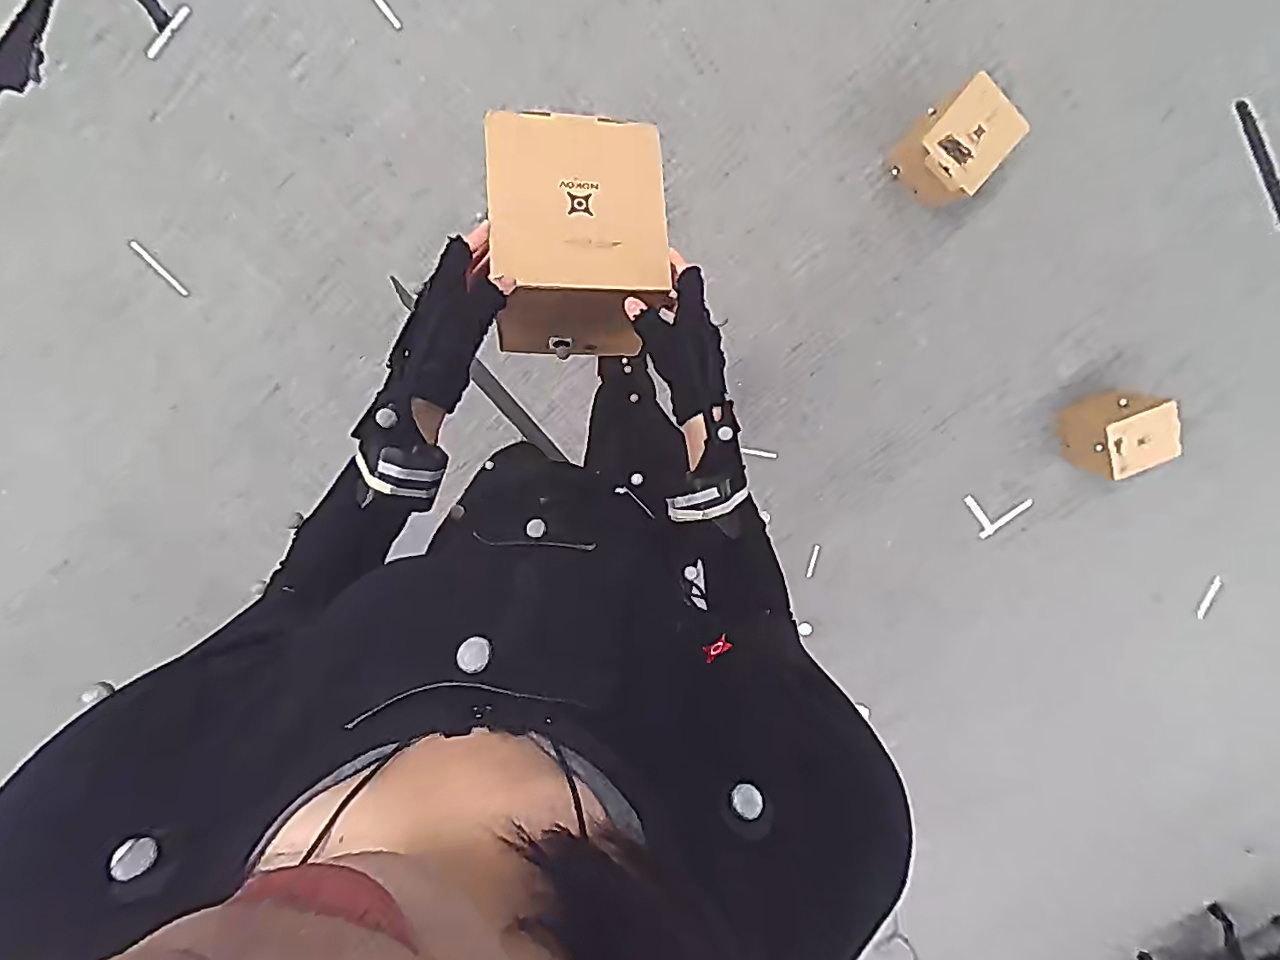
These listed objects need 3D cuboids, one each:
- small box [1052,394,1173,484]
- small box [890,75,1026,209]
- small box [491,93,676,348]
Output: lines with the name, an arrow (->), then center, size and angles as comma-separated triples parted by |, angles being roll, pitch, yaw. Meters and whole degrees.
small box -> 1.273, -0.118, 1.463 | 0.179, 0.176, 0.168 | -23, 109, 5
small box -> 0.698, -0.744, 1.217 | 0.168, 0.176, 0.179 | 37, 103, -14
small box -> -0.068, -0.254, 0.569 | 0.168, 0.176, 0.179 | -3, 83, -12
